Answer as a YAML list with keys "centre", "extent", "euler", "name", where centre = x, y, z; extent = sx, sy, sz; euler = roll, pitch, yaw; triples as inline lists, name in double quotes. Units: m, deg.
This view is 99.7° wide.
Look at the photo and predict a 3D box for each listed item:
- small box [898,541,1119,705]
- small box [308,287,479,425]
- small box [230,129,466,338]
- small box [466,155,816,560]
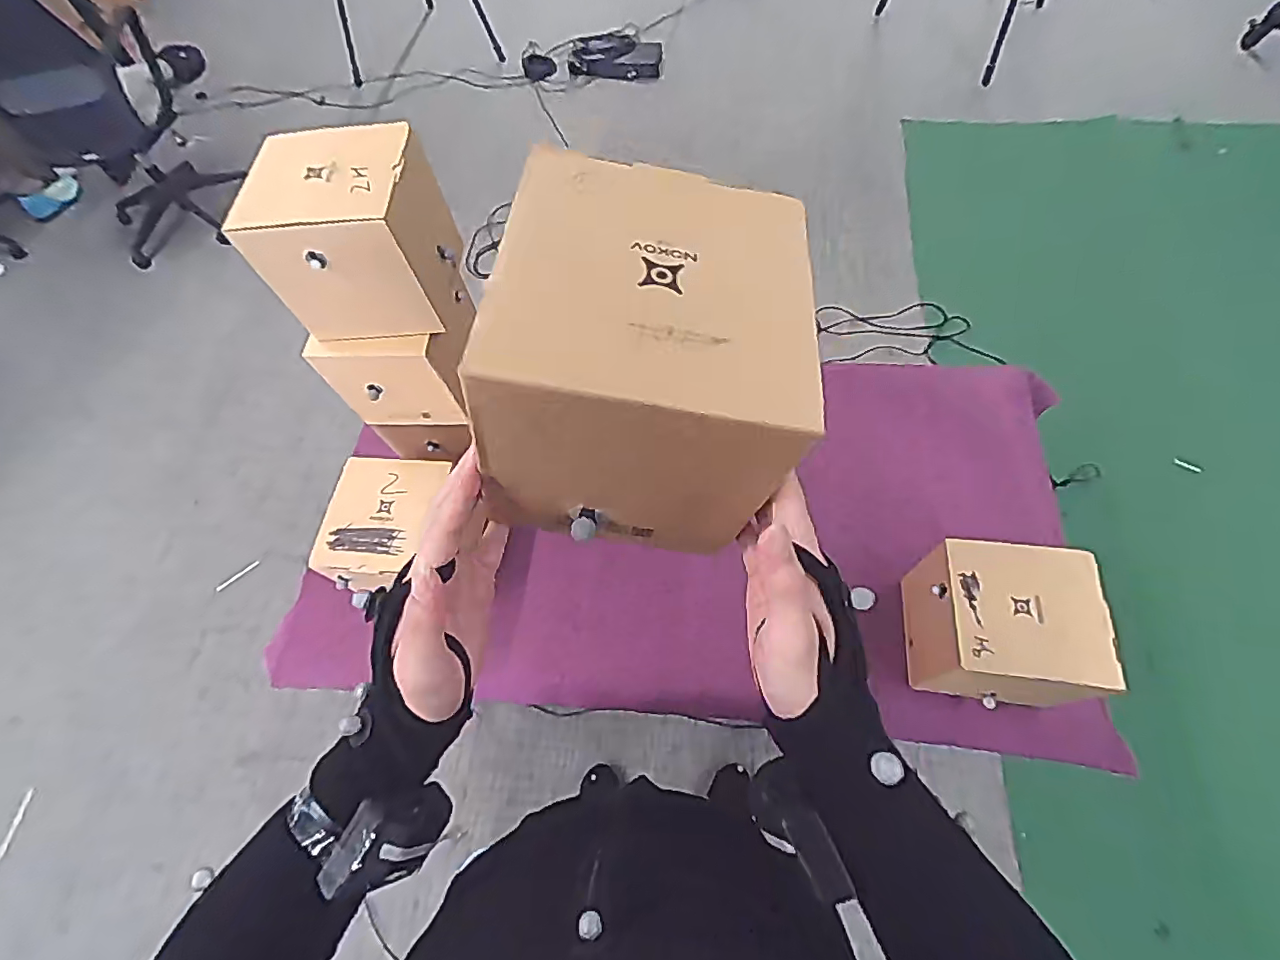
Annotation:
- centre: [0.467, 0.196, 0.719]
  extent: [0.179, 0.176, 0.168]
  euler: [6, 62, 8]
  name: "small box"
- centre: [-0.338, -0.194, 0.797]
  extent: [0.168, 0.176, 0.179]
  euler: [0, 62, 4]
  name: "small box"
- centre: [-0.335, -0.291, 0.661]
  extent: [0.179, 0.176, 0.168]
  euler: [-2, 63, 3]
  name: "small box"
- centre: [-0.002, -0.068, 0.354]
  extent: [0.168, 0.176, 0.179]
  euler: [9, 59, -4]
  name: "small box"
